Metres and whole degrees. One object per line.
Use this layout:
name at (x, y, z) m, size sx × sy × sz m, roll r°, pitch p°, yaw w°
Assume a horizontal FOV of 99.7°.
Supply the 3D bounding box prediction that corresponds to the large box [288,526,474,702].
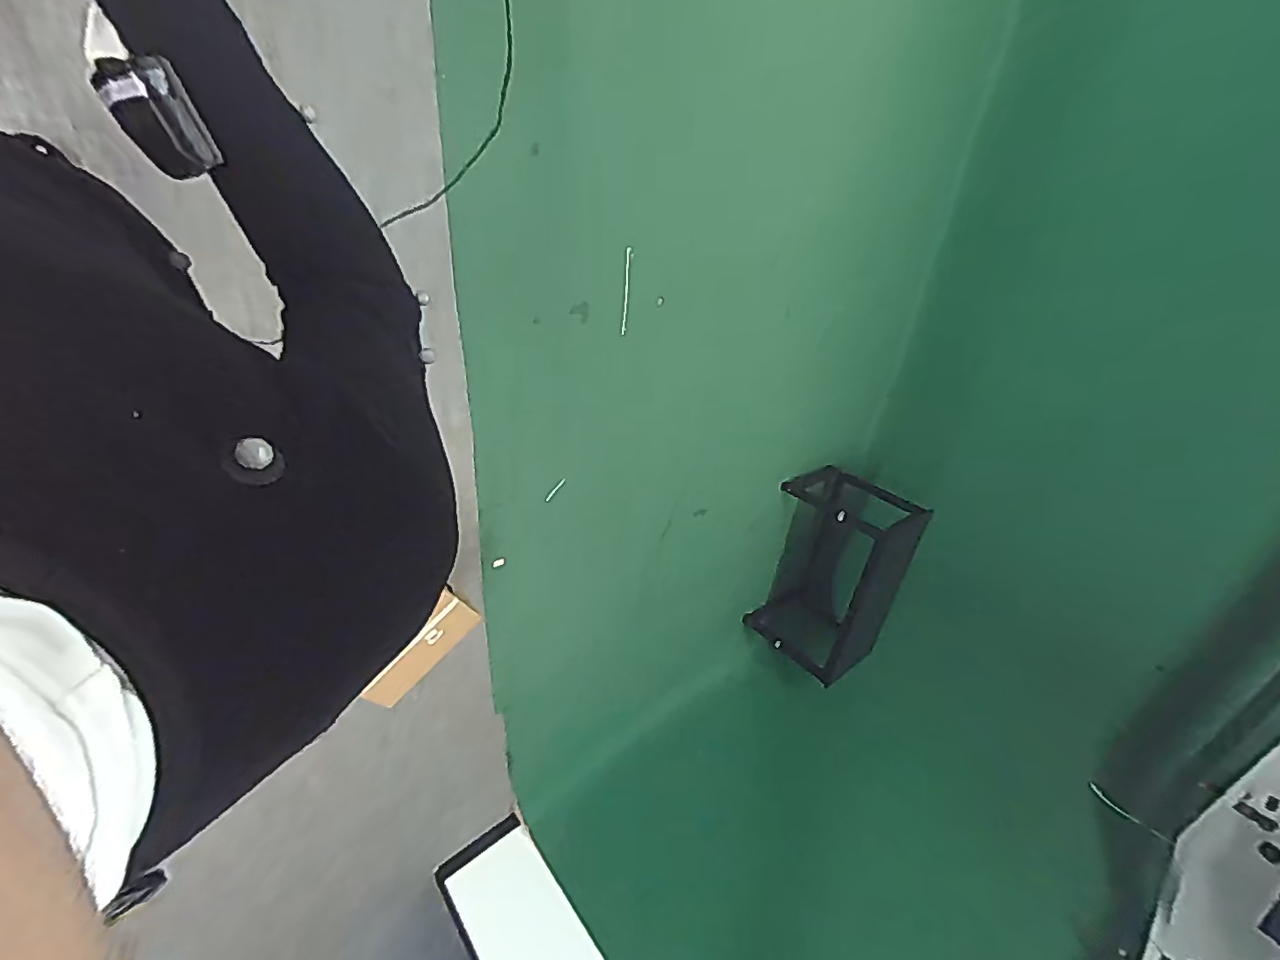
large box at (-0.845, 0.435, 1.781) m, size 0.408 × 0.320 × 0.320 m, roll -46°, pitch 141°, yaw -14°
